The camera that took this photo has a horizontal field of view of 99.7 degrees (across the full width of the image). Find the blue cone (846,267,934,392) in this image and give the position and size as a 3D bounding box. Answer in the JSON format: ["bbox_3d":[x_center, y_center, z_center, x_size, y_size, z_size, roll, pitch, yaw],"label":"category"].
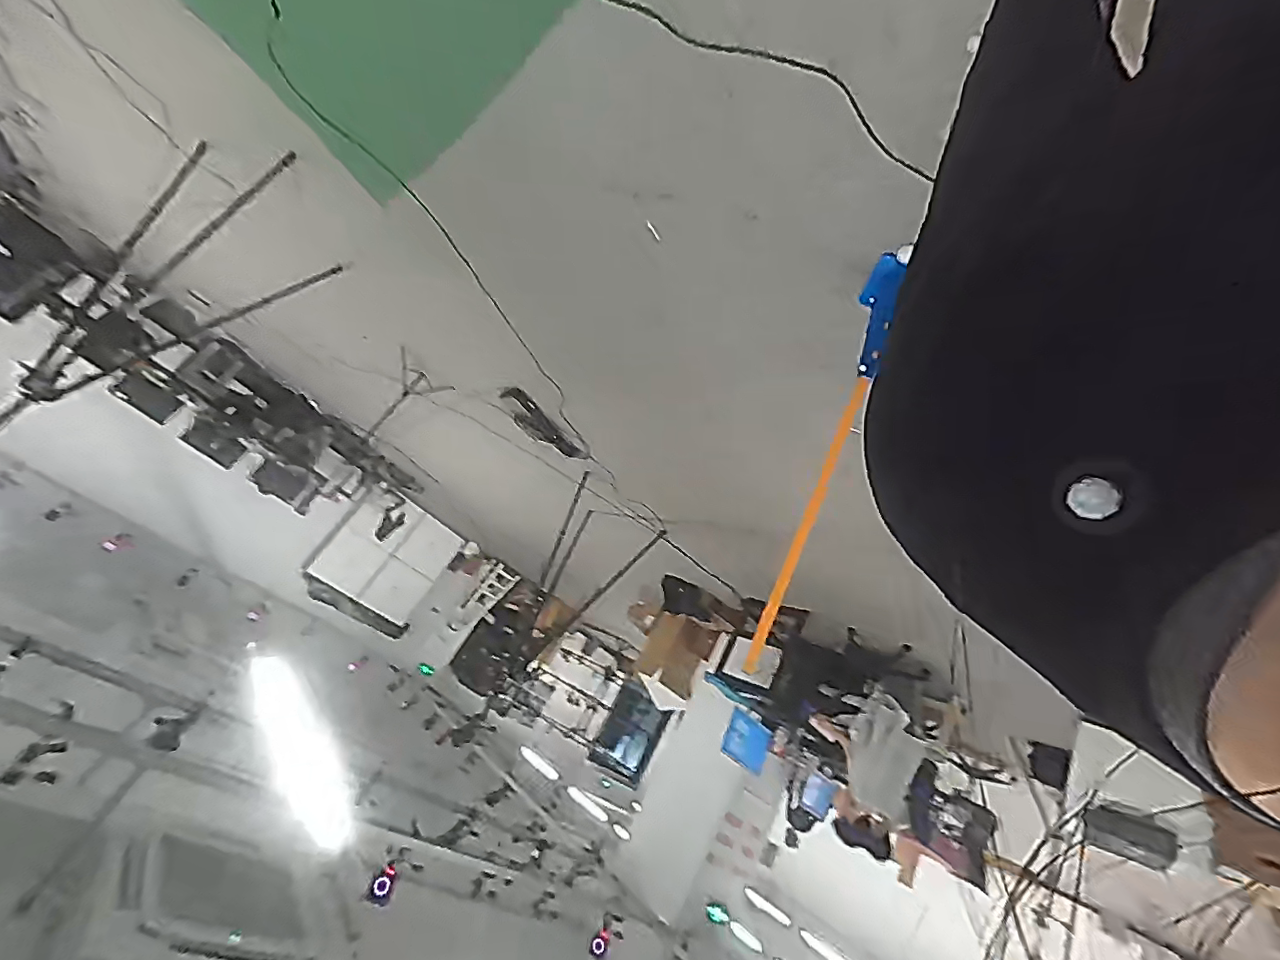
[{"bbox_3d":[0.676,-0.400,1.541,0.192,0.380,0.193,26,159,9],"label":"blue cone"}]
